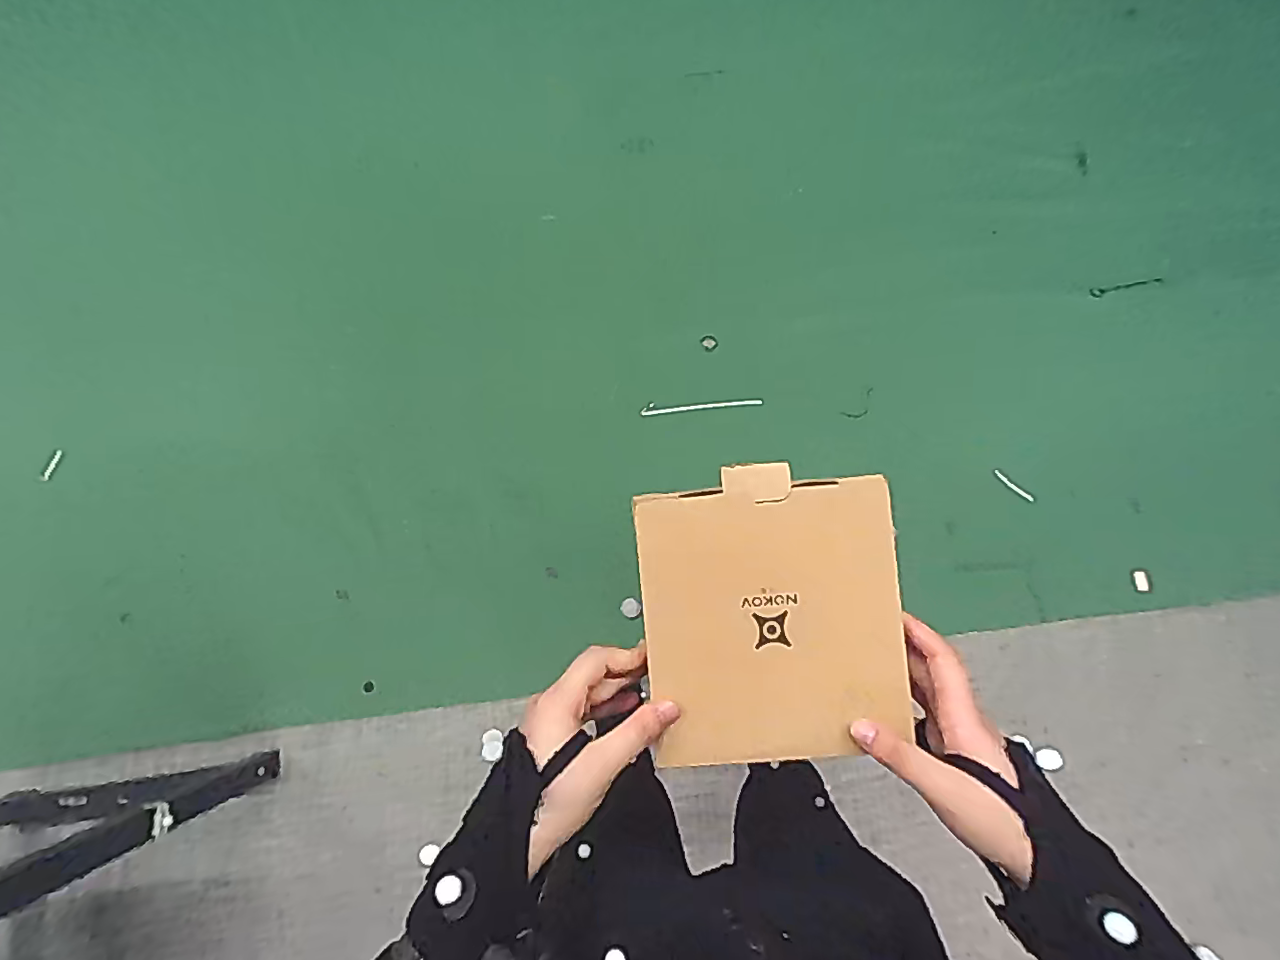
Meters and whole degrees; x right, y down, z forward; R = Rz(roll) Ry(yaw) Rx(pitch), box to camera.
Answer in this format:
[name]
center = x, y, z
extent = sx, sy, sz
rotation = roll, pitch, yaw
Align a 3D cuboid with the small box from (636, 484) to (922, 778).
[small box]
center = 0.090, 0.097, 0.420
extent = 0.168, 0.176, 0.179
rotation = -6, 87, 2
